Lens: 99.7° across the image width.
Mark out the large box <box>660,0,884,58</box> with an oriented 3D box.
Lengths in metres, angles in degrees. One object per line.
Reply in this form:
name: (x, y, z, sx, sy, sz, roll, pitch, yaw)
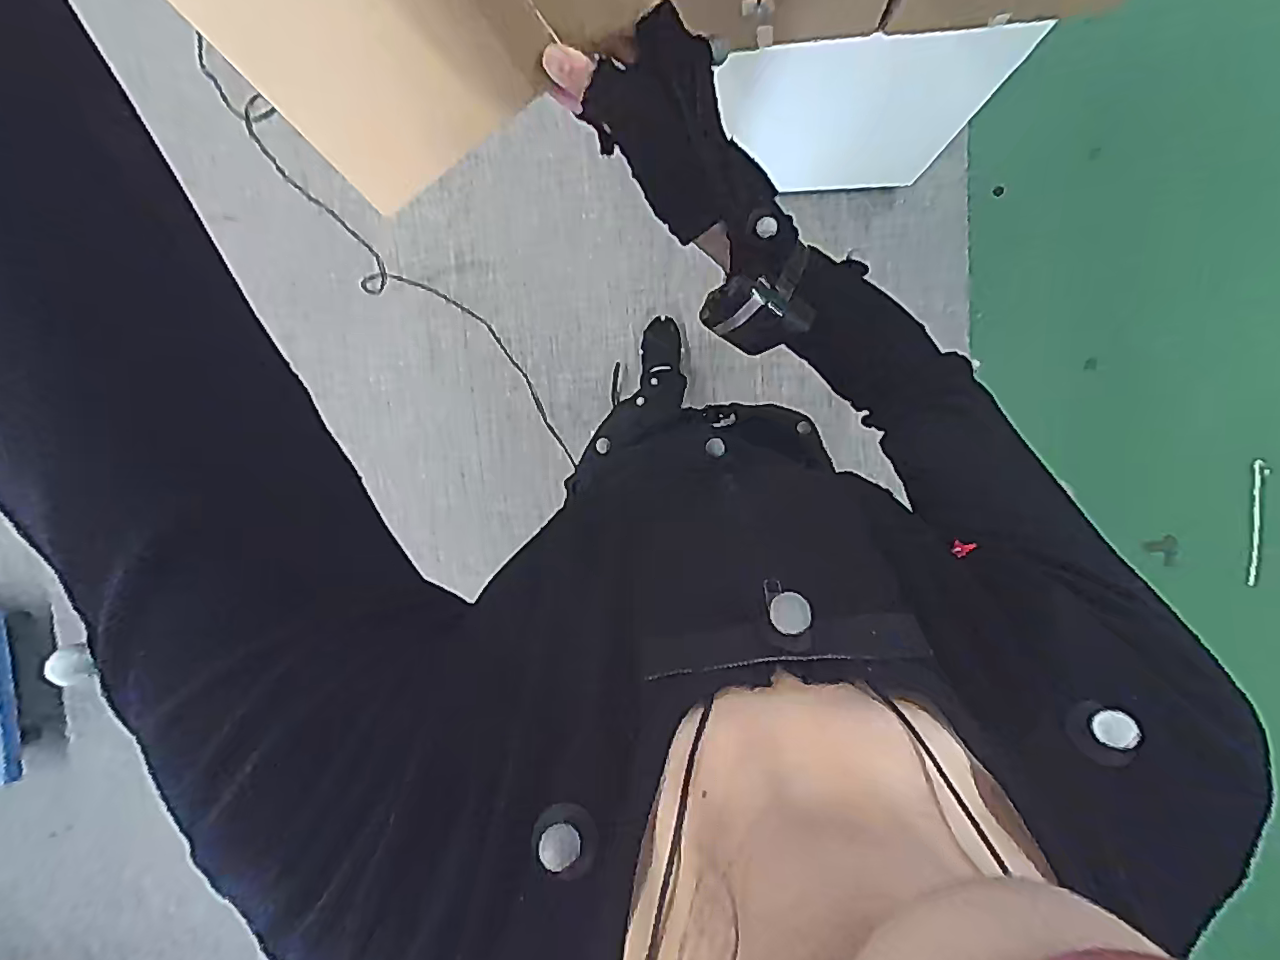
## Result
large box: (0.159, -0.824, 0.637, 0.320, 0.320, 0.408, -1, 95, 7)
